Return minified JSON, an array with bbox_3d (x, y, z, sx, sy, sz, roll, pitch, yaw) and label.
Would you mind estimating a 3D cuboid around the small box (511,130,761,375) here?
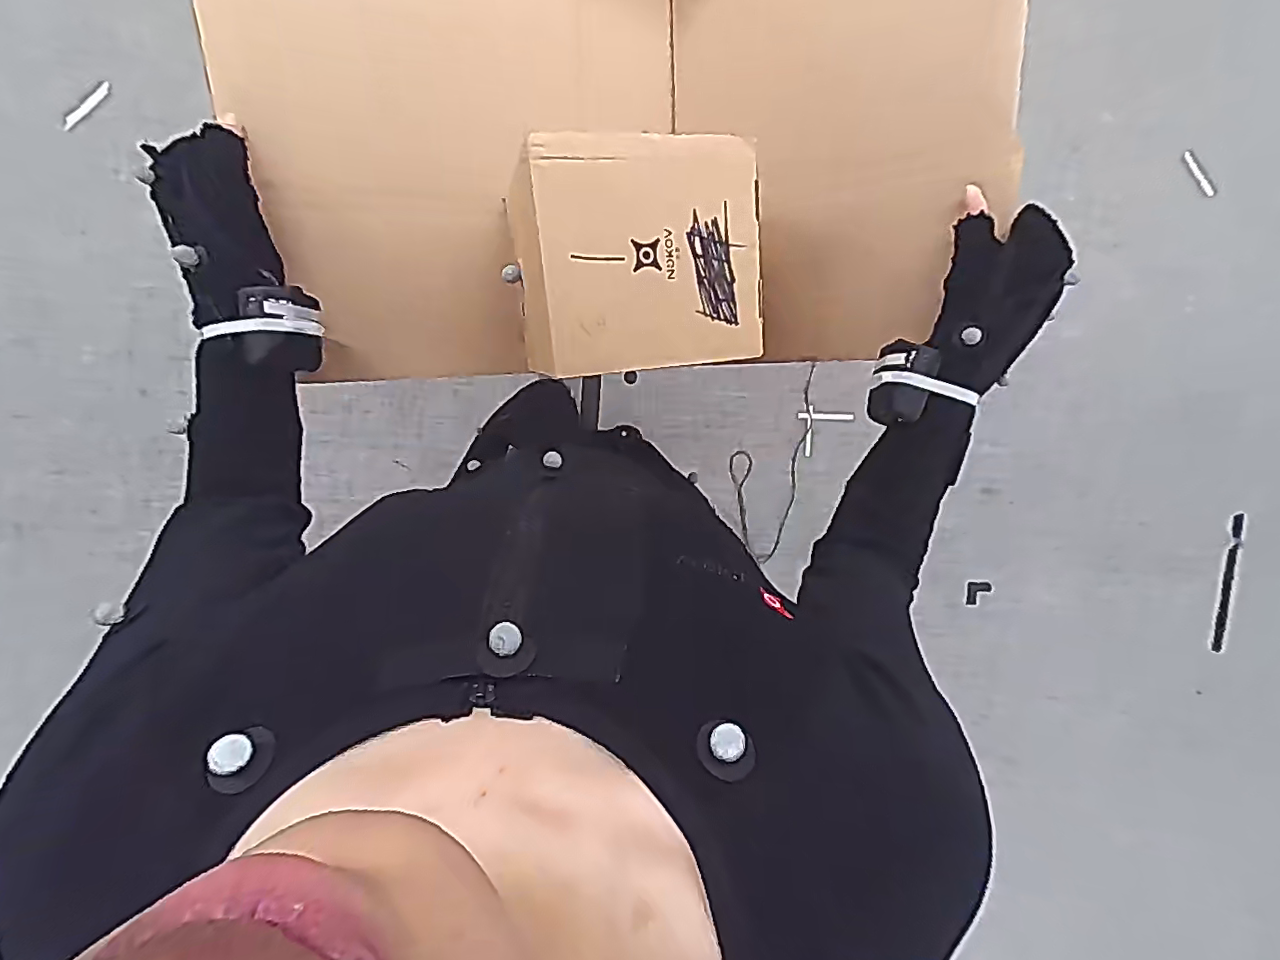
[{"bbox_3d":[-0.011,-0.188,0.482,0.179,0.176,0.168,-9,105,-15],"label":"small box"}]
